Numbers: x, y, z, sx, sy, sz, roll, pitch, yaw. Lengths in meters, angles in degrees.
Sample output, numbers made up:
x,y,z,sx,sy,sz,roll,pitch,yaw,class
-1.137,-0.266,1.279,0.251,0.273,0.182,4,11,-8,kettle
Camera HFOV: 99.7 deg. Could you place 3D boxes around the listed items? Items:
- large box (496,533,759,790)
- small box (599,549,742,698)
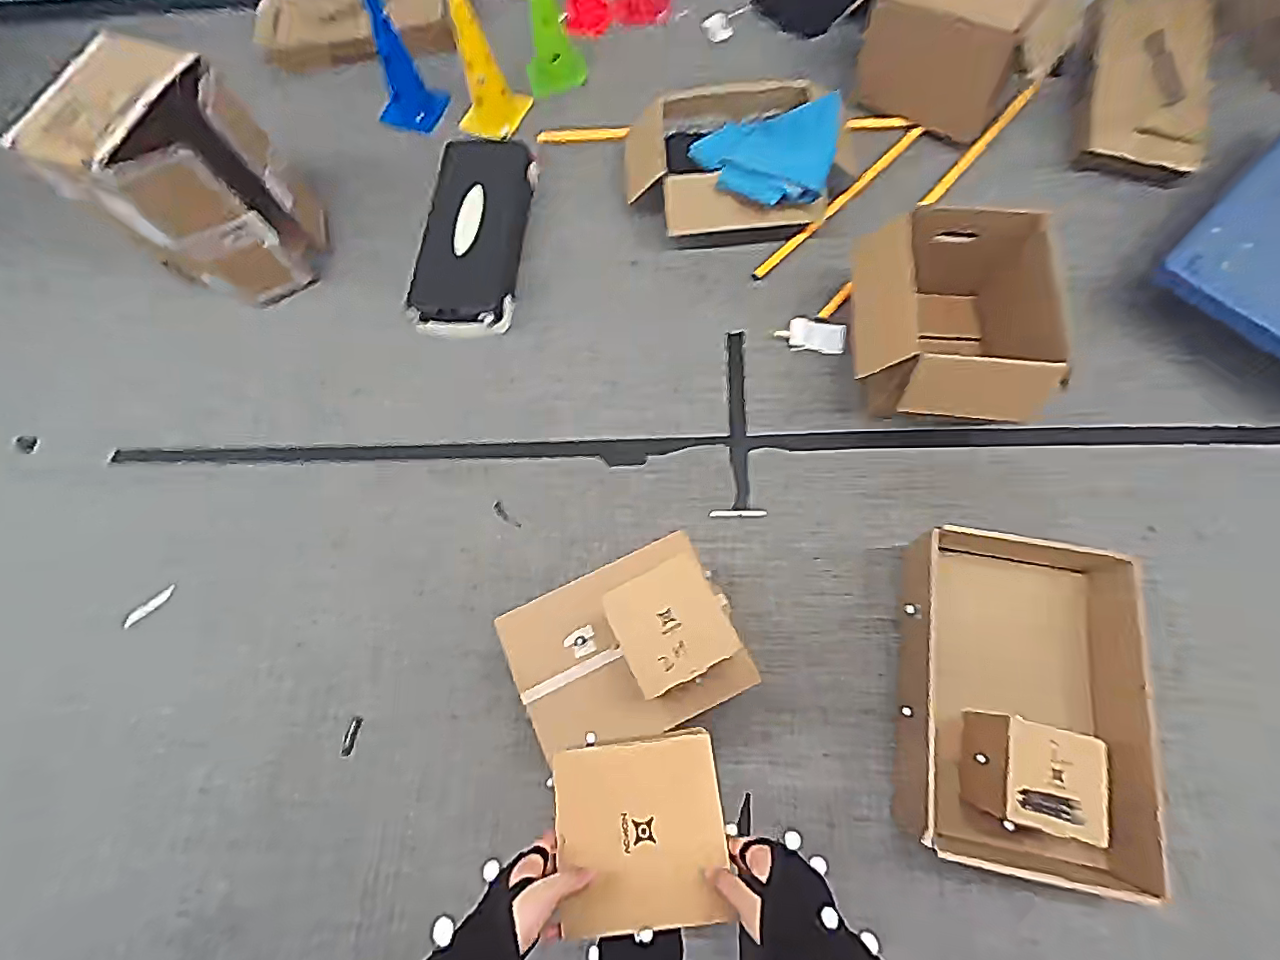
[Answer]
x,y,z,sx,sy,sz,roll,pitch,yaw,class
-0.018,0.362,1.127,0.408,0.320,0.320,-26,70,-5,large box
0.049,0.242,0.903,0.168,0.176,0.179,-27,72,-5,small box
